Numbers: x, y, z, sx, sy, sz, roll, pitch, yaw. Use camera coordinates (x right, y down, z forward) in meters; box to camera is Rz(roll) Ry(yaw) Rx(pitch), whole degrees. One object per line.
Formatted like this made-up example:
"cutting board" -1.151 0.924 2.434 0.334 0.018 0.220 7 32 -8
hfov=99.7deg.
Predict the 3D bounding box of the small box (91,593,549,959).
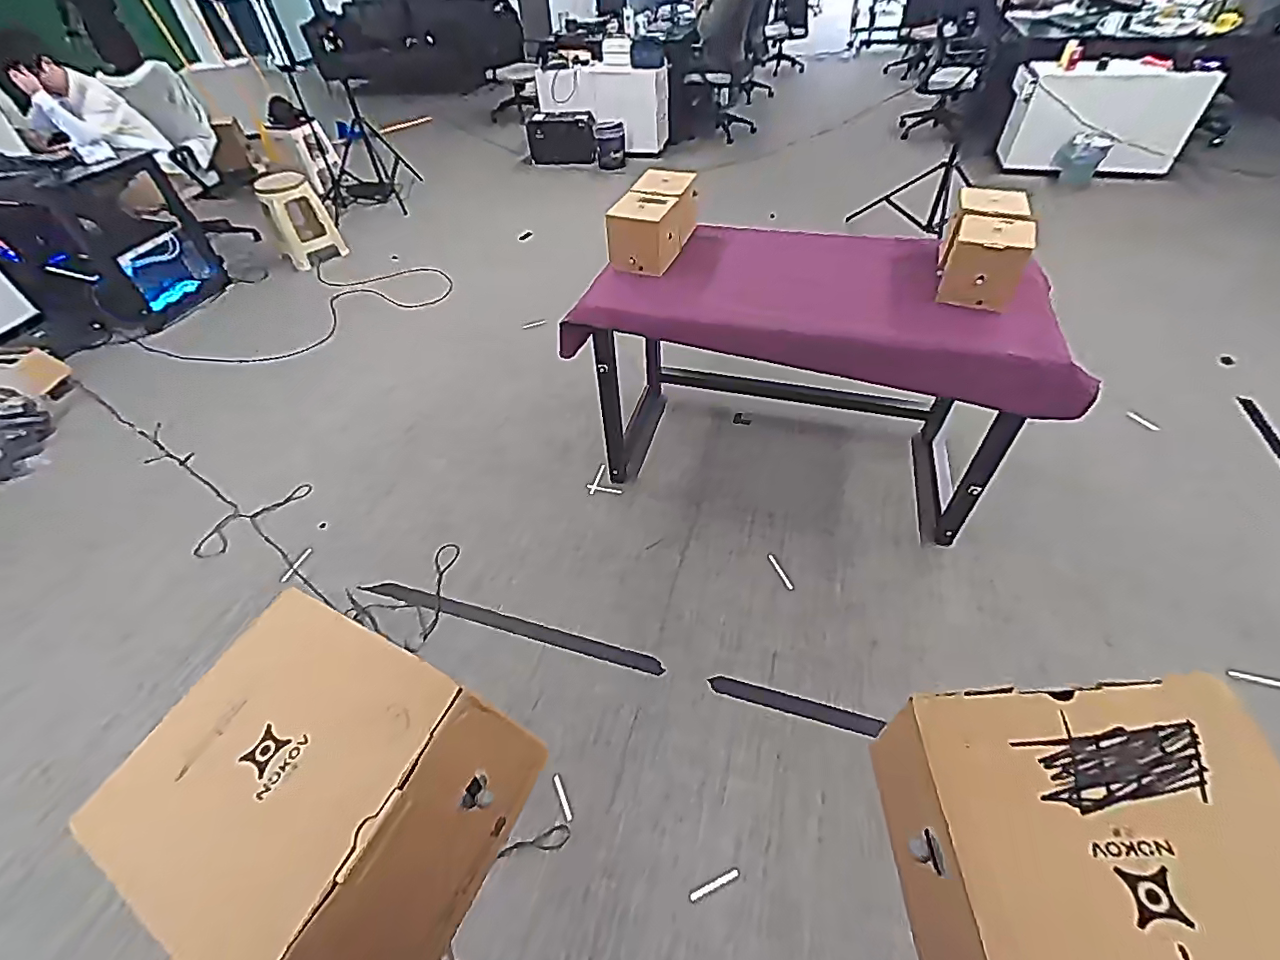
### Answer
"small box" -0.190 0.211 0.375 0.179 0.176 0.168 16 56 25

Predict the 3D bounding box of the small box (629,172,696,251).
"small box" 0.074 -0.863 1.737 0.168 0.176 0.179 14 50 16

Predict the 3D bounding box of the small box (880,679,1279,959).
"small box" 0.260 0.237 0.326 0.168 0.176 0.179 -8 53 8

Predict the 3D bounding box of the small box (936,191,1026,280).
"small box" 0.951 -0.691 1.525 0.168 0.176 0.179 14 49 15
